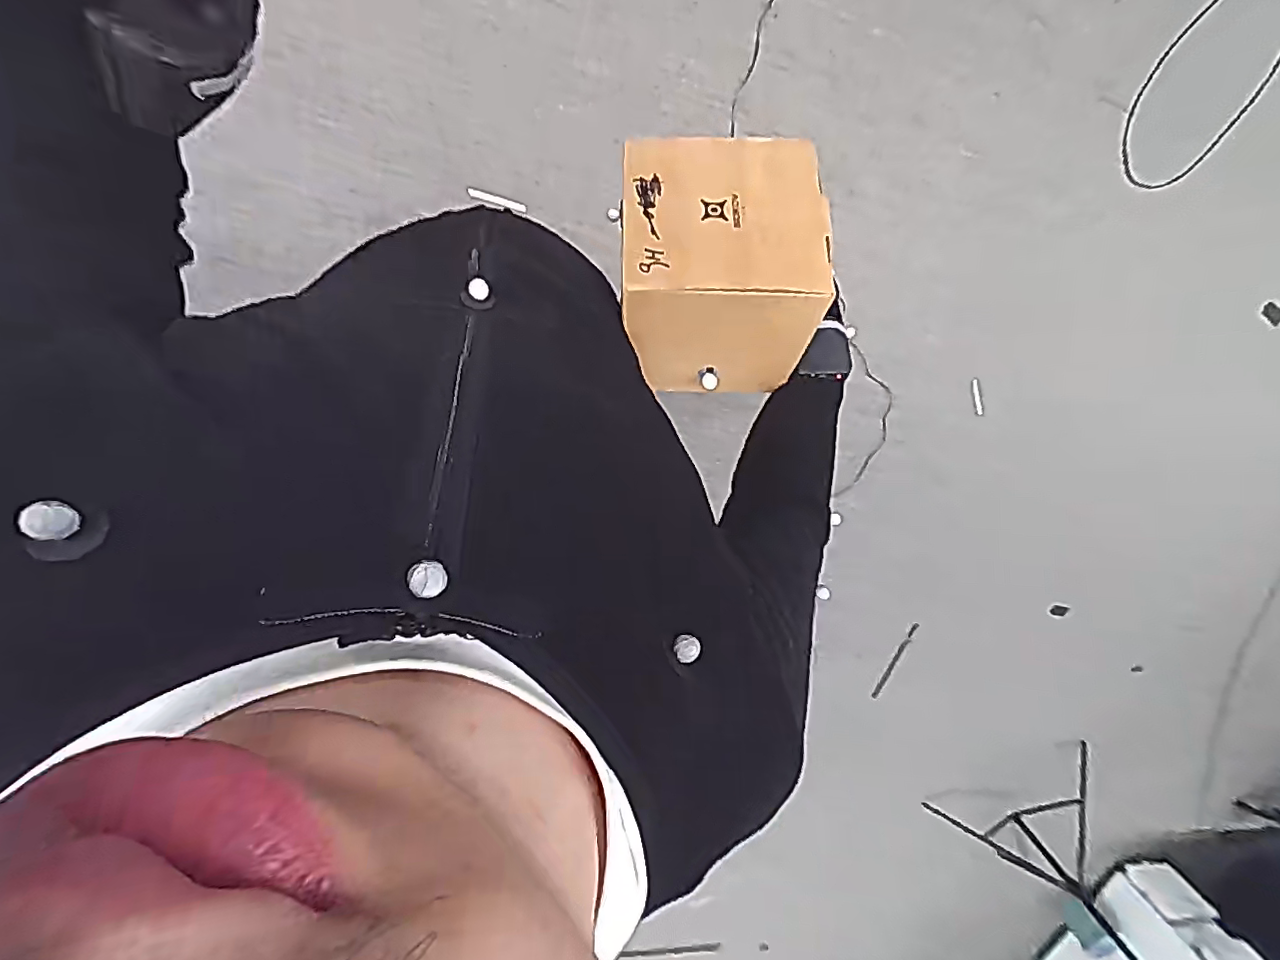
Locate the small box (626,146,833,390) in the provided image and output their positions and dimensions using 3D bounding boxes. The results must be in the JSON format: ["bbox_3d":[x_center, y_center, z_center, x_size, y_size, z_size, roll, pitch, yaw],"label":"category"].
[{"bbox_3d":[0.076,-0.204,0.557,0.179,0.176,0.168,1,71,-2],"label":"small box"}]
